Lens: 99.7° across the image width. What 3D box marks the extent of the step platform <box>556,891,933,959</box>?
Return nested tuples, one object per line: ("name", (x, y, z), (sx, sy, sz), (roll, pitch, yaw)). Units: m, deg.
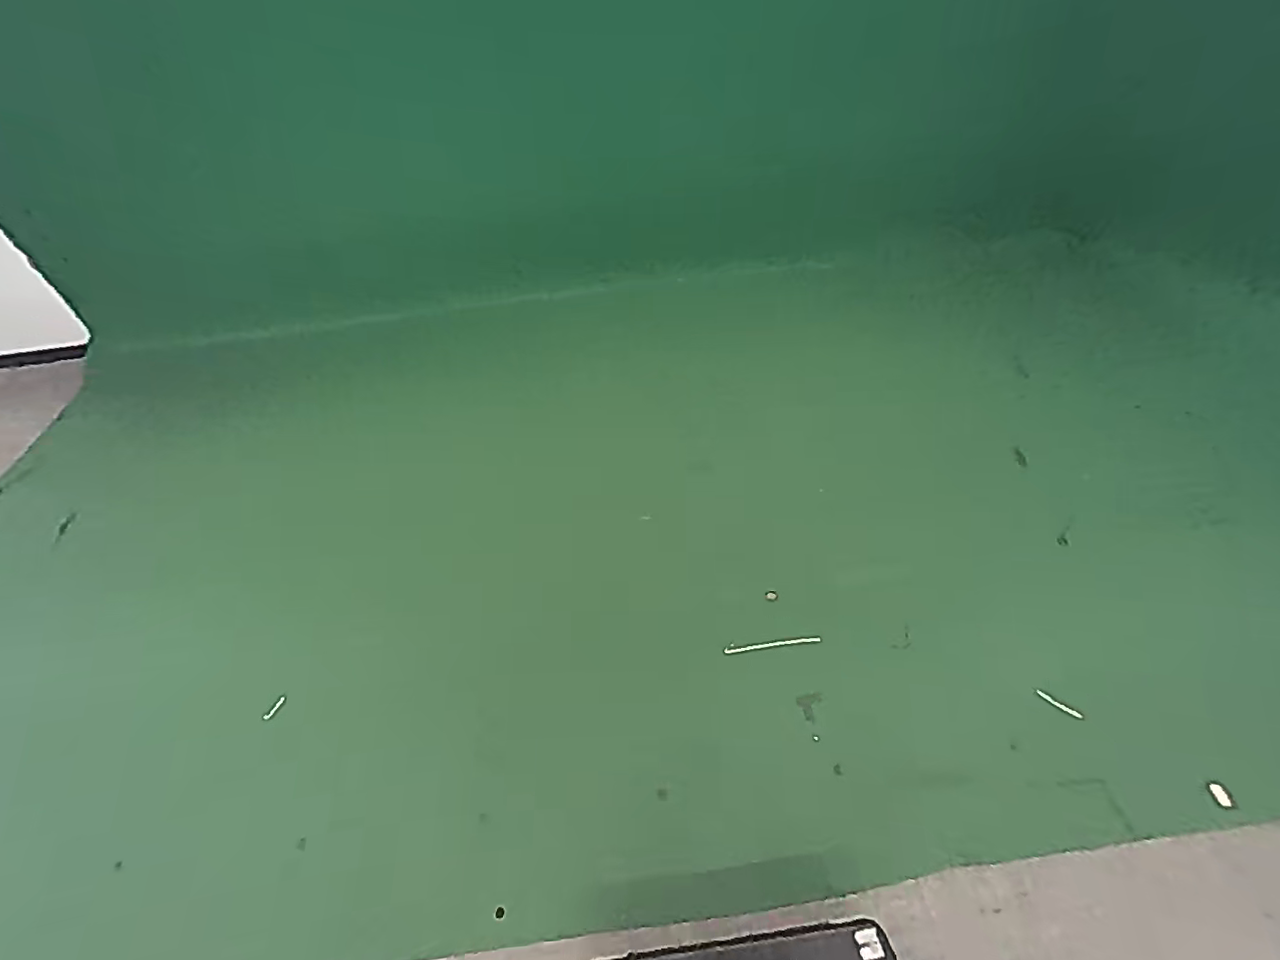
("step platform", (0.185, 0.970, 0.973), (0.684, 0.204, 0.286), (-8, 48, -2))
